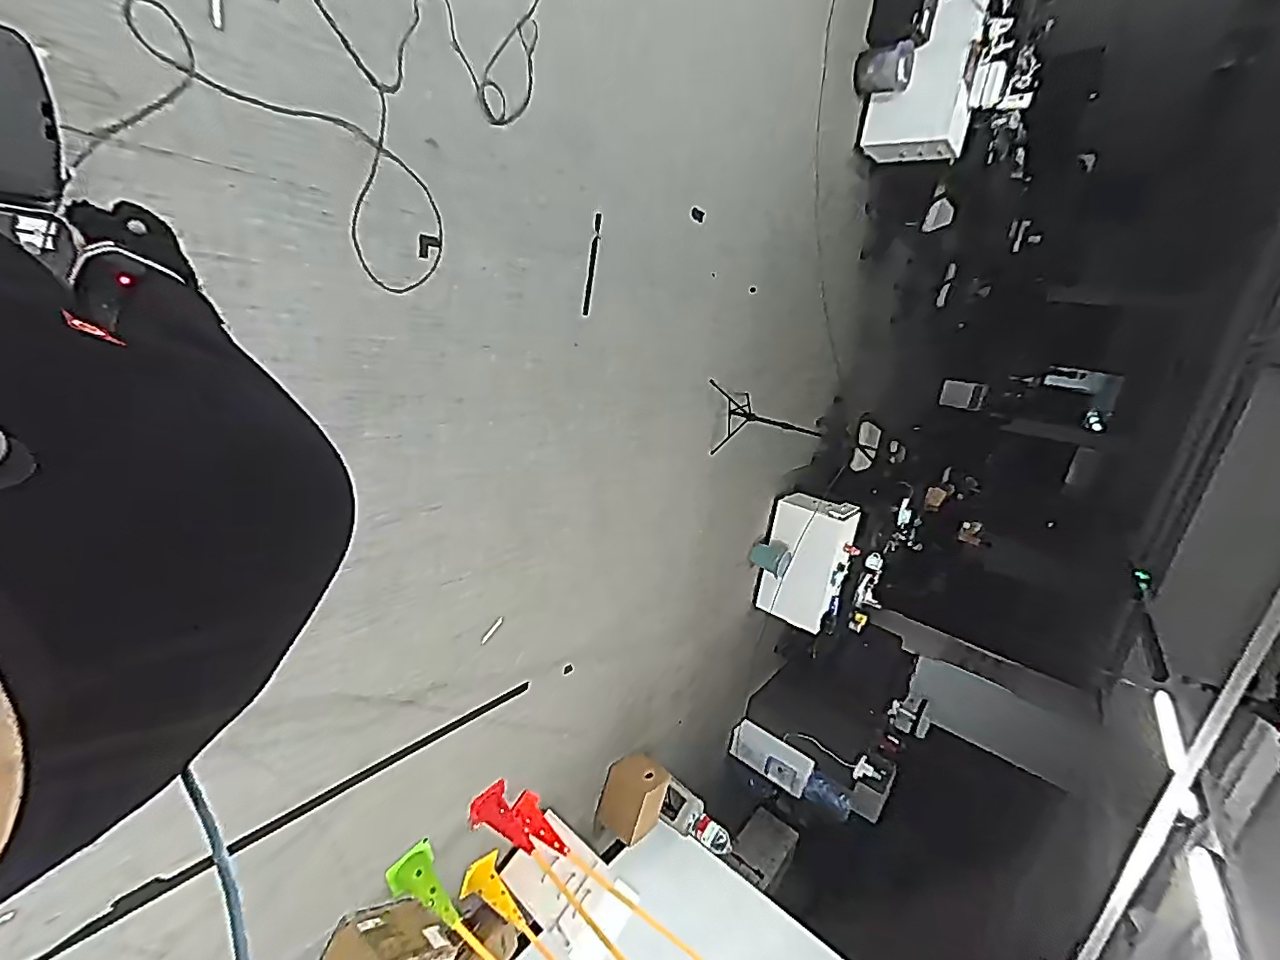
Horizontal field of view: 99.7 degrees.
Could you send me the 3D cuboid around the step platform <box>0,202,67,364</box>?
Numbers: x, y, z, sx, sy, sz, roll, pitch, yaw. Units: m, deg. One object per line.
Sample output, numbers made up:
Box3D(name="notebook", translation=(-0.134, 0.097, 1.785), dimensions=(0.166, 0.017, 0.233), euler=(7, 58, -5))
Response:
Box3D(name="step platform", translation=(-1.357, -0.325, 0.808), dimensions=(0.684, 0.204, 0.286), euler=(-14, 117, -49))
